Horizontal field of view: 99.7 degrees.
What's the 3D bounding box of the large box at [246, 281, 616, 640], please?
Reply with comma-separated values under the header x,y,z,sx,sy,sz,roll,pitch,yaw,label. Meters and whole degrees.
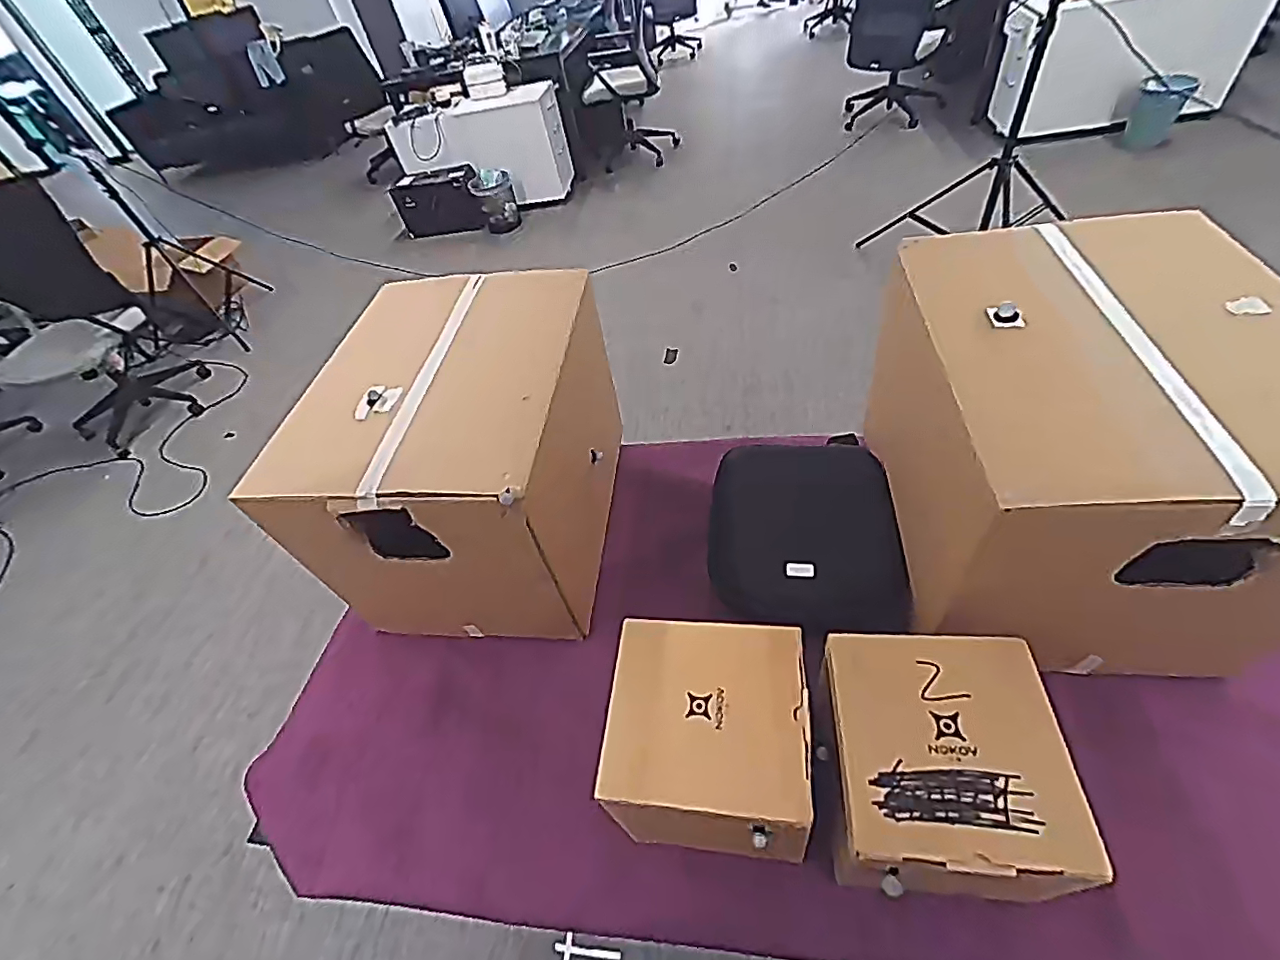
x,y,z,sx,sy,sz,roll,pitch,yaw,label
-0.220,-0.028,0.762,0.320,0.320,0.408,-2,51,9,large box
